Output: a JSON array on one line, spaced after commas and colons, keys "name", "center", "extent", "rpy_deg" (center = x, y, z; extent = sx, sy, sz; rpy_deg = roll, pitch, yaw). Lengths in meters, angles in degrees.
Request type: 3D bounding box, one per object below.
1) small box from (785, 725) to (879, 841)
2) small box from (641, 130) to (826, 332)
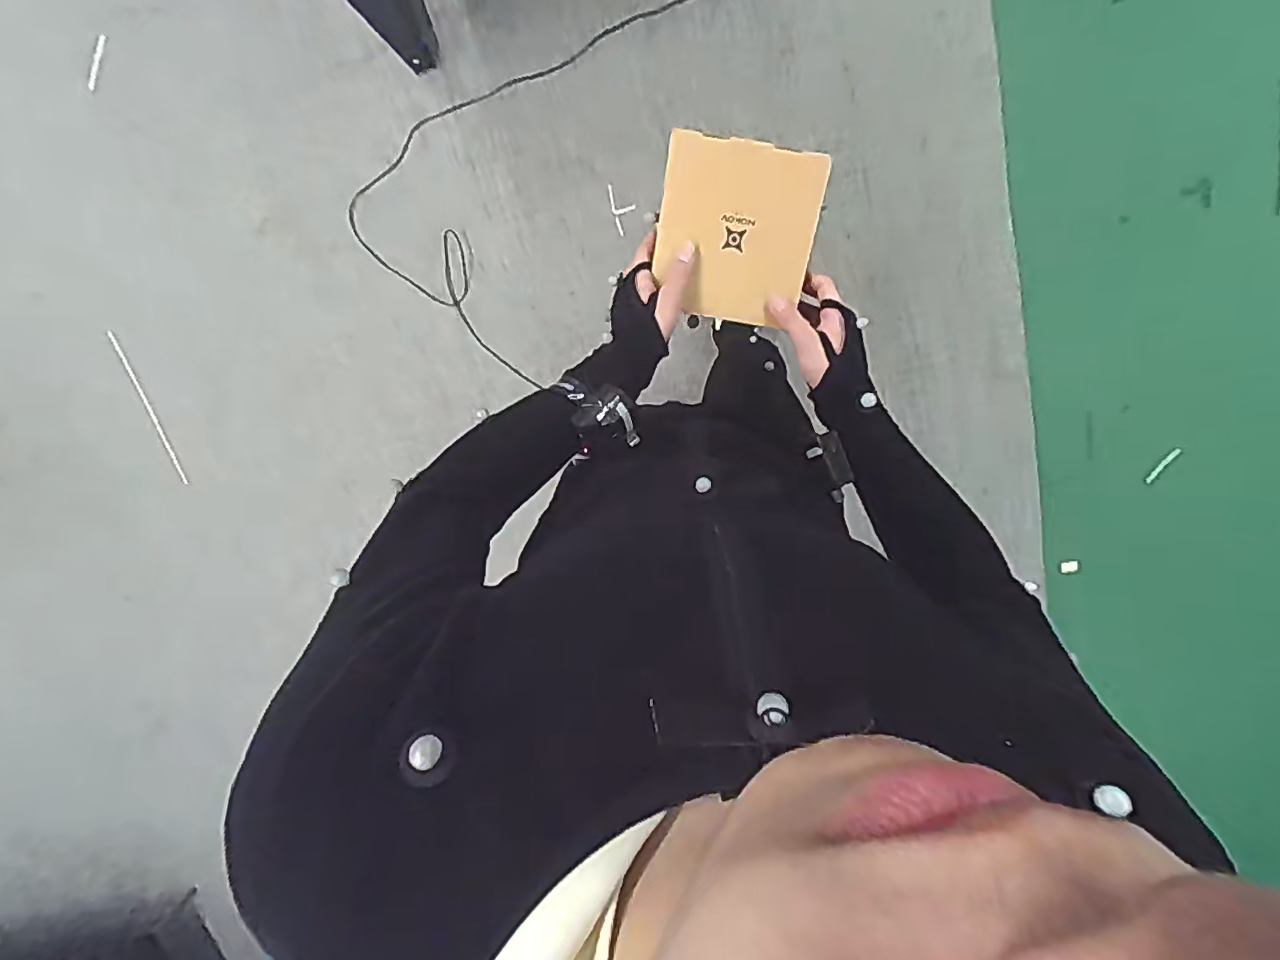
[{"name": "small box", "center": [0.440, 0.695, 1.260], "extent": [0.168, 0.176, 0.179], "rpy_deg": [-9, 103, 7]}, {"name": "small box", "center": [0.098, -0.278, 0.640], "extent": [0.168, 0.176, 0.179], "rpy_deg": [9, 106, 0]}]
